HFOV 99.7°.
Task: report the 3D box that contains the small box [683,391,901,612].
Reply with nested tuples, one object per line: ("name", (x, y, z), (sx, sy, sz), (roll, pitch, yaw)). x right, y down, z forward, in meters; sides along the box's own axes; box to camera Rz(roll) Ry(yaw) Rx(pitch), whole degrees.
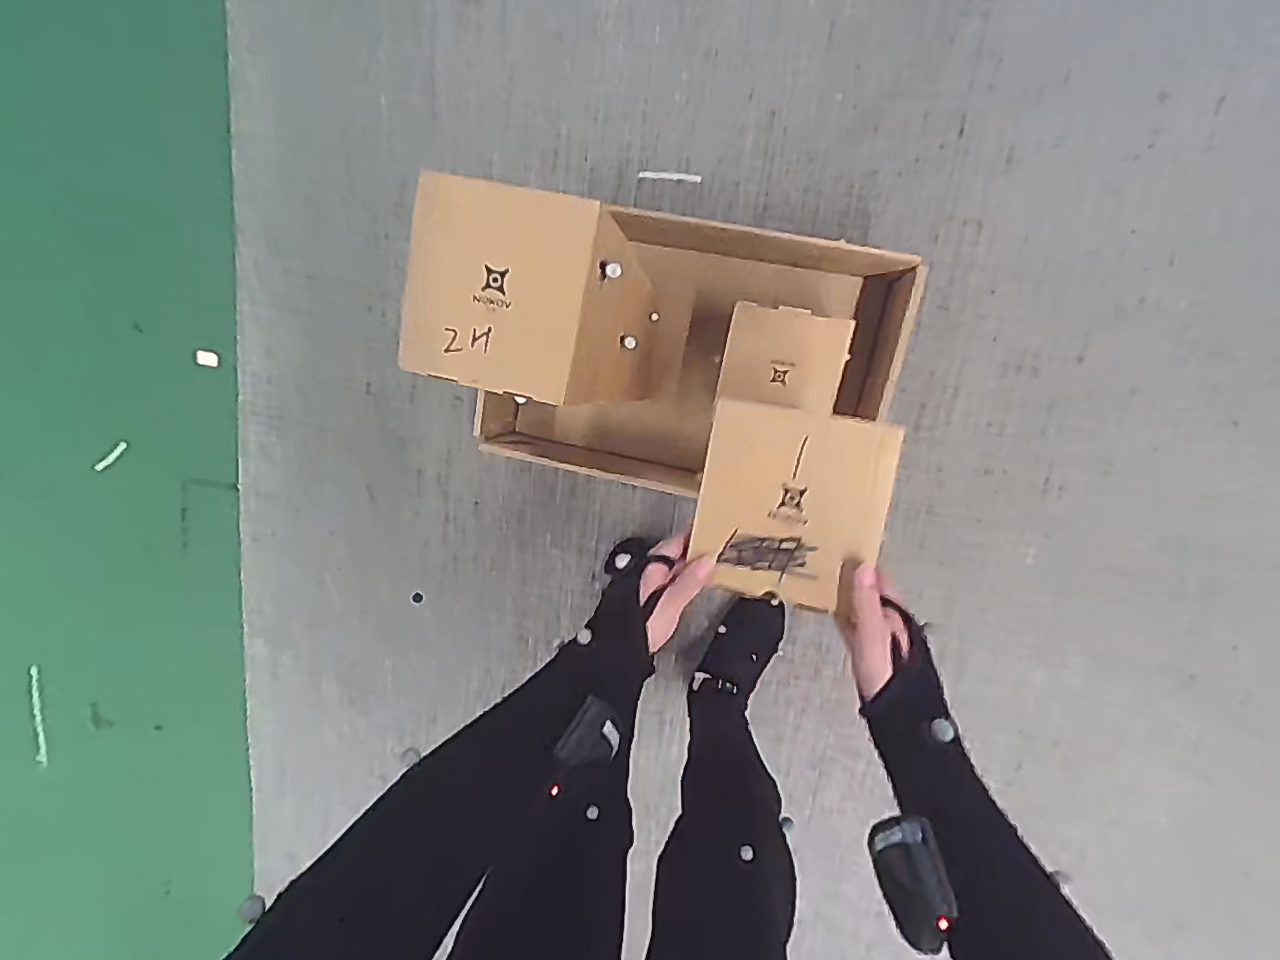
("small box", (0.151, 0.015, 0.565), (0.168, 0.176, 0.179), (11, 94, 12))

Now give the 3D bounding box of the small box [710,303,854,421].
("small box", (0.209, -0.159, 0.831), (0.168, 0.176, 0.179), (13, 103, 9))

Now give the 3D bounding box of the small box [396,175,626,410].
("small box", (-0.117, -0.176, 0.552), (0.168, 0.176, 0.179), (13, 101, 7))
